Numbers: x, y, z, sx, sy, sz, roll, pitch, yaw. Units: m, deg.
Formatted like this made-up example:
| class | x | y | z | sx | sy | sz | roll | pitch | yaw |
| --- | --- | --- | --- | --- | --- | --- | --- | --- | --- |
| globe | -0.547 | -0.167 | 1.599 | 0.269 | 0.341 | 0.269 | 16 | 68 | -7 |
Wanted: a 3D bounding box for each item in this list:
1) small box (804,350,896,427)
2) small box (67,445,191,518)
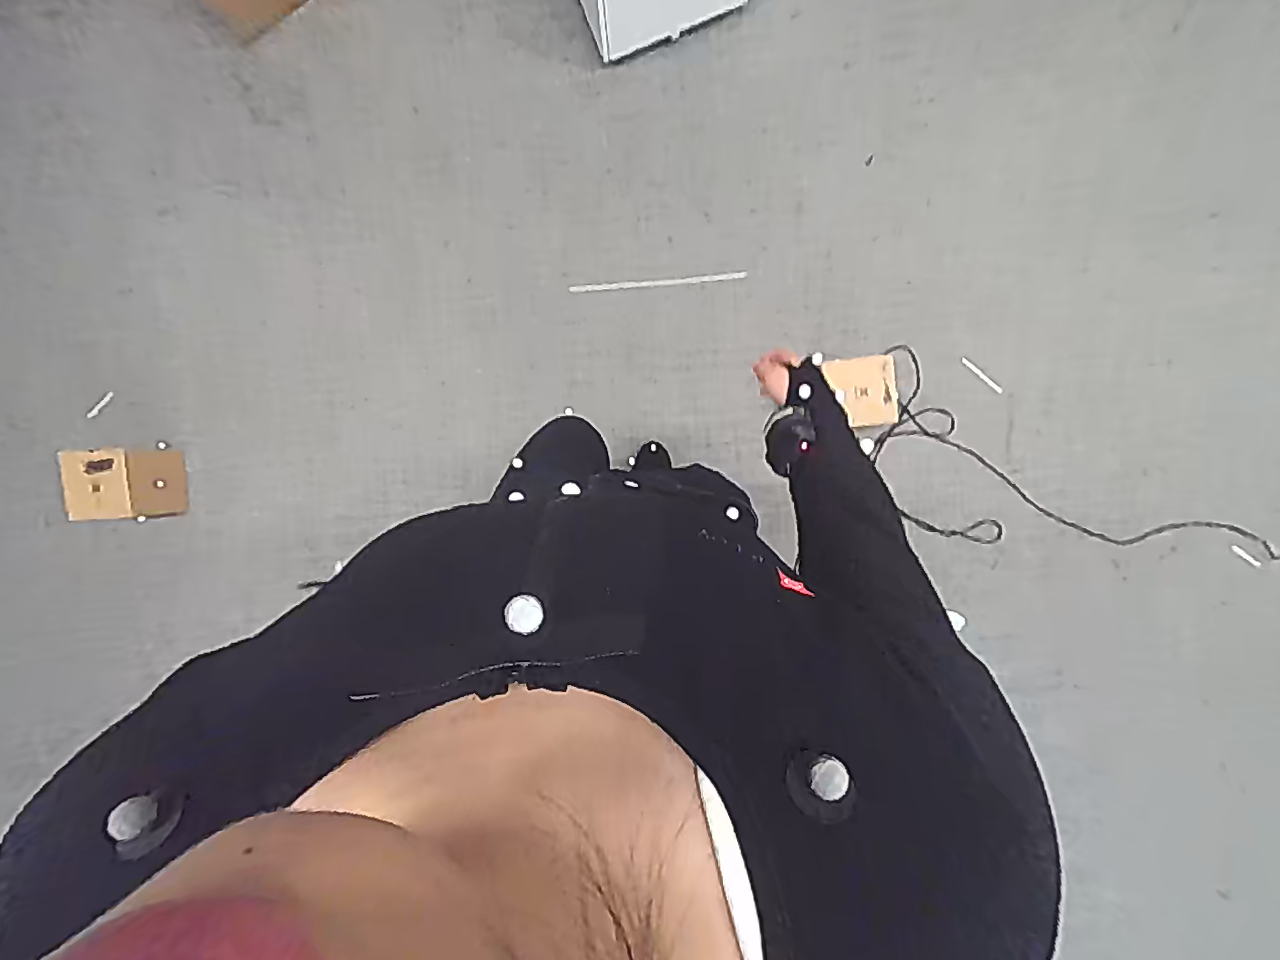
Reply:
| class | x | y | z | sx | sy | sz | roll | pitch | yaw |
| --- | --- | --- | --- | --- | --- | --- | --- | --- | --- |
| small box | 0.527 | -0.228 | 1.382 | 0.179 | 0.176 | 0.168 | -7 | 94 | 2 |
| small box | -1.335 | 0.000 | 1.423 | 0.168 | 0.176 | 0.179 | -3 | 94 | 1 |
